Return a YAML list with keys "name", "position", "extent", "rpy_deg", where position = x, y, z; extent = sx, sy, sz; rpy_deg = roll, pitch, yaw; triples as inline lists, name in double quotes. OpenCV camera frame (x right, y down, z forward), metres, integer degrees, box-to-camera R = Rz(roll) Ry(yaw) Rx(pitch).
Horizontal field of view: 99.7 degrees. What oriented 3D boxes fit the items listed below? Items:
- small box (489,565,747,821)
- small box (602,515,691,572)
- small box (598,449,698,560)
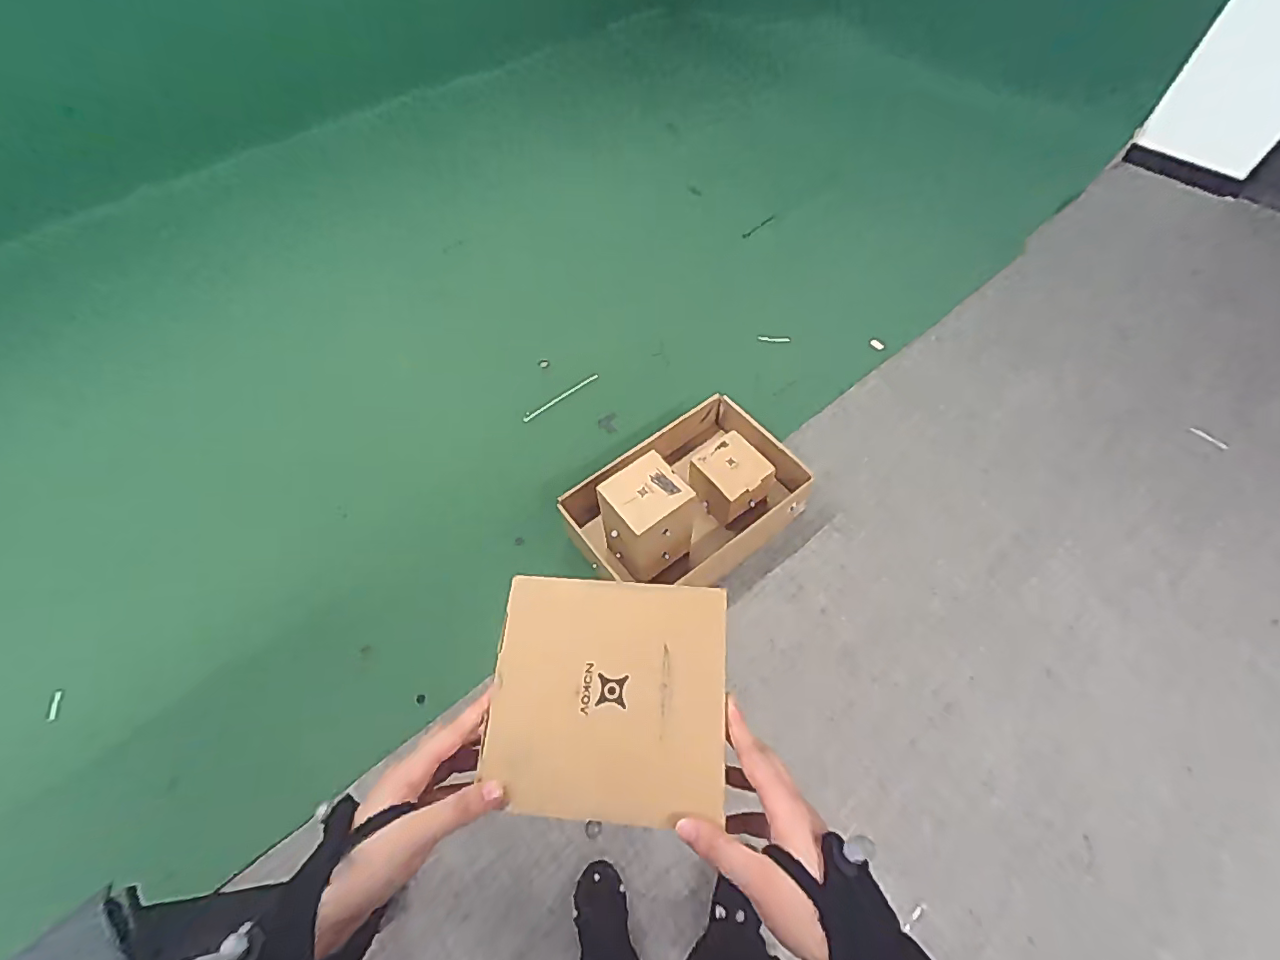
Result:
- name: "small box"
  position: [-0.007, 0.181, 0.463]
  extent: [0.179, 0.176, 0.168]
  rpy_deg: [3, 64, 4]
- name: "small box"
  position: [0.019, 0.147, 1.456]
  extent: [0.179, 0.176, 0.168]
  rpy_deg: [-34, 64, -19]
- name: "small box"
  position: [0.018, 0.062, 1.316]
  extent: [0.179, 0.176, 0.168]
  rpy_deg: [-34, 63, -17]
